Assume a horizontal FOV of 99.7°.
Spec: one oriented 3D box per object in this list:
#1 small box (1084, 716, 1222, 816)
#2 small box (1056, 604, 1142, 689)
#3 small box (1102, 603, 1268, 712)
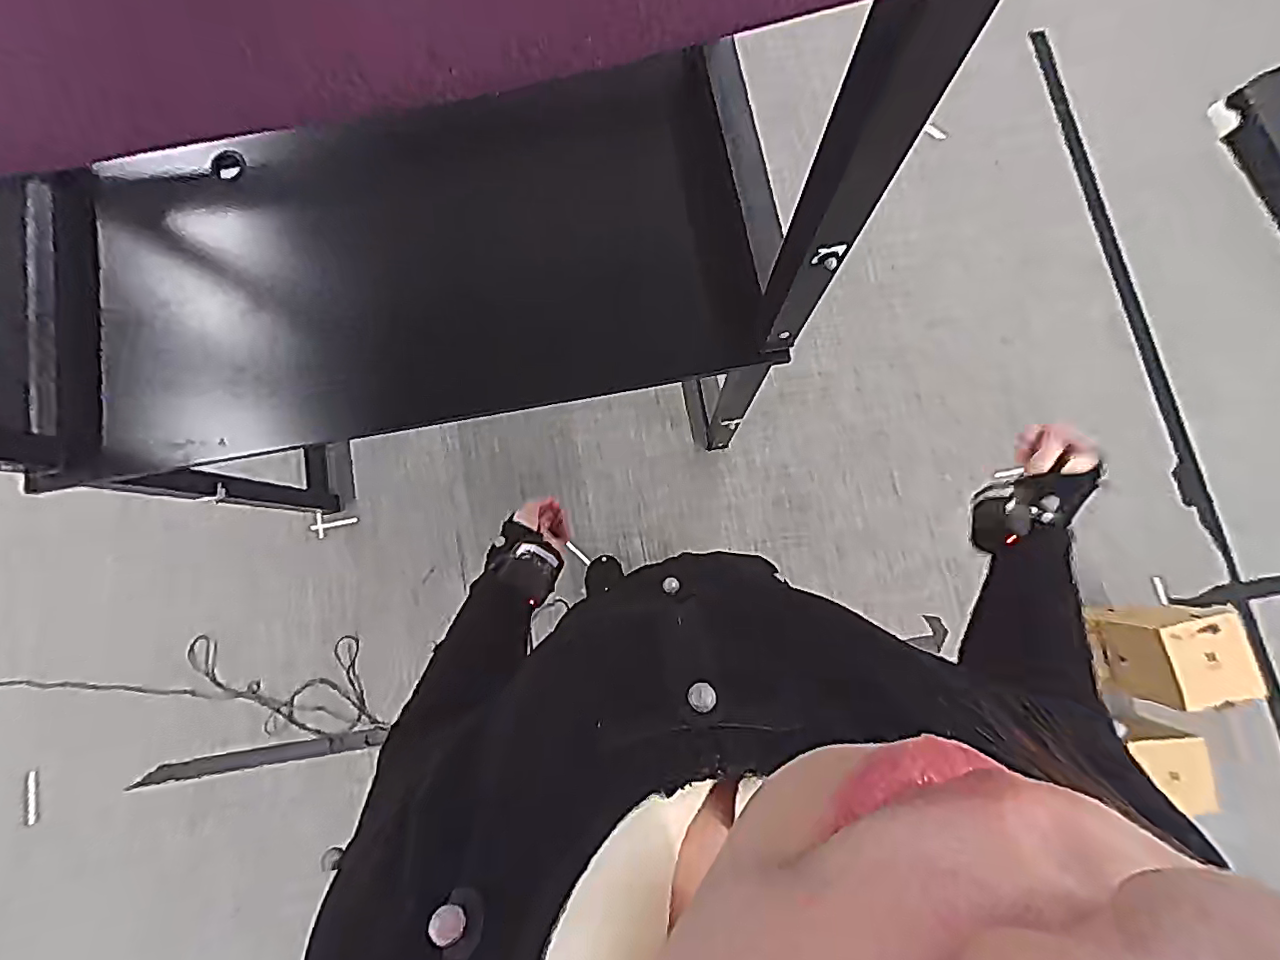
[{"bbox_3d":[1.227,0.686,1.313,0.179,0.176,0.168,-5,83,1],"label":"small box"},{"bbox_3d":[1.187,0.409,1.351,0.179,0.176,0.168,-8,82,0],"label":"small box"},{"bbox_3d":[1.183,0.381,1.188,0.168,0.176,0.179,-13,83,0],"label":"small box"}]
